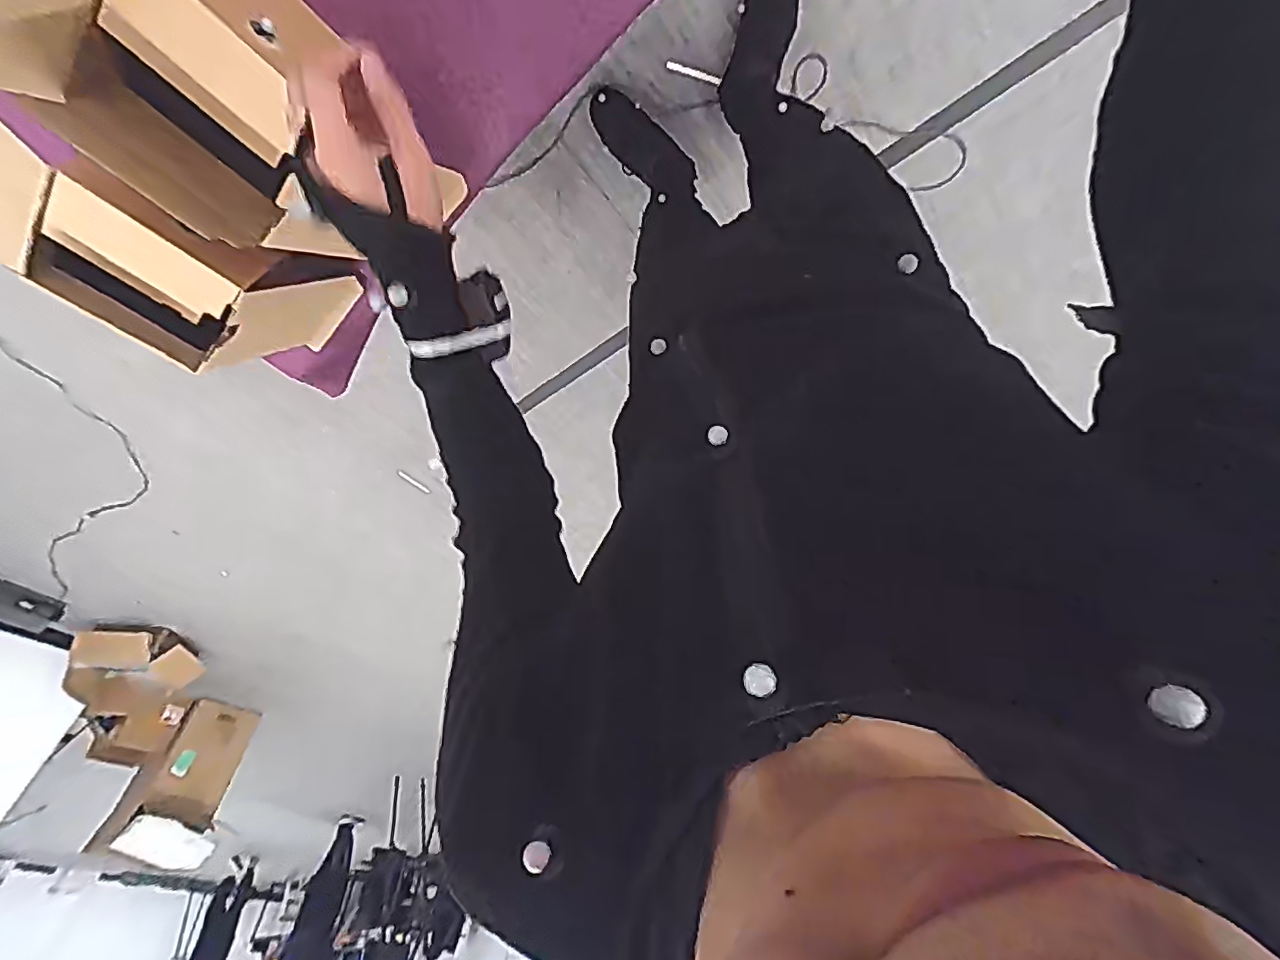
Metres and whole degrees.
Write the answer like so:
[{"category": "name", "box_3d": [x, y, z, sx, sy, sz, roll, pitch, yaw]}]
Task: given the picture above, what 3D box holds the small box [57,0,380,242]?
[{"category": "small box", "box_3d": [-0.397, -0.388, 0.540, 0.168, 0.176, 0.179, -32, 127, 28]}]
